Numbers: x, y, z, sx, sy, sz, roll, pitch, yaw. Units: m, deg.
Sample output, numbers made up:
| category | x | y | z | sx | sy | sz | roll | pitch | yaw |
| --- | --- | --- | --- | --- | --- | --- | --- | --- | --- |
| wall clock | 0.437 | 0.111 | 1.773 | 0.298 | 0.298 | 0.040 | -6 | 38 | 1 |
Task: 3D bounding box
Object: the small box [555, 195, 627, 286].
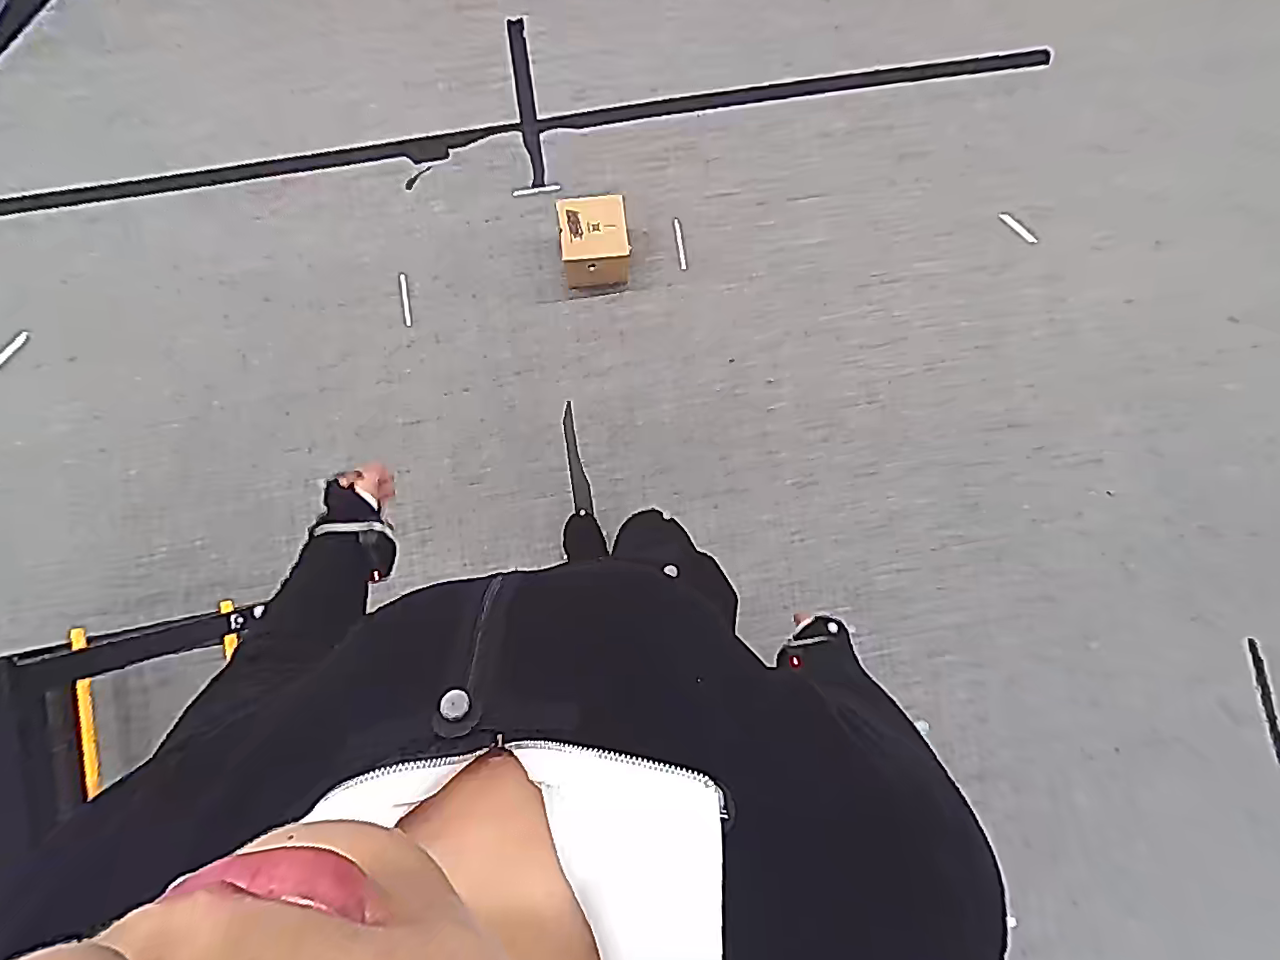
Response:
| category | x | y | z | sx | sy | sz | roll | pitch | yaw |
| --- | --- | --- | --- | --- | --- | --- | --- | --- | --- |
| small box | -0.129 | -0.647 | 1.478 | 0.179 | 0.176 | 0.168 | -7 | 87 | -4 |
